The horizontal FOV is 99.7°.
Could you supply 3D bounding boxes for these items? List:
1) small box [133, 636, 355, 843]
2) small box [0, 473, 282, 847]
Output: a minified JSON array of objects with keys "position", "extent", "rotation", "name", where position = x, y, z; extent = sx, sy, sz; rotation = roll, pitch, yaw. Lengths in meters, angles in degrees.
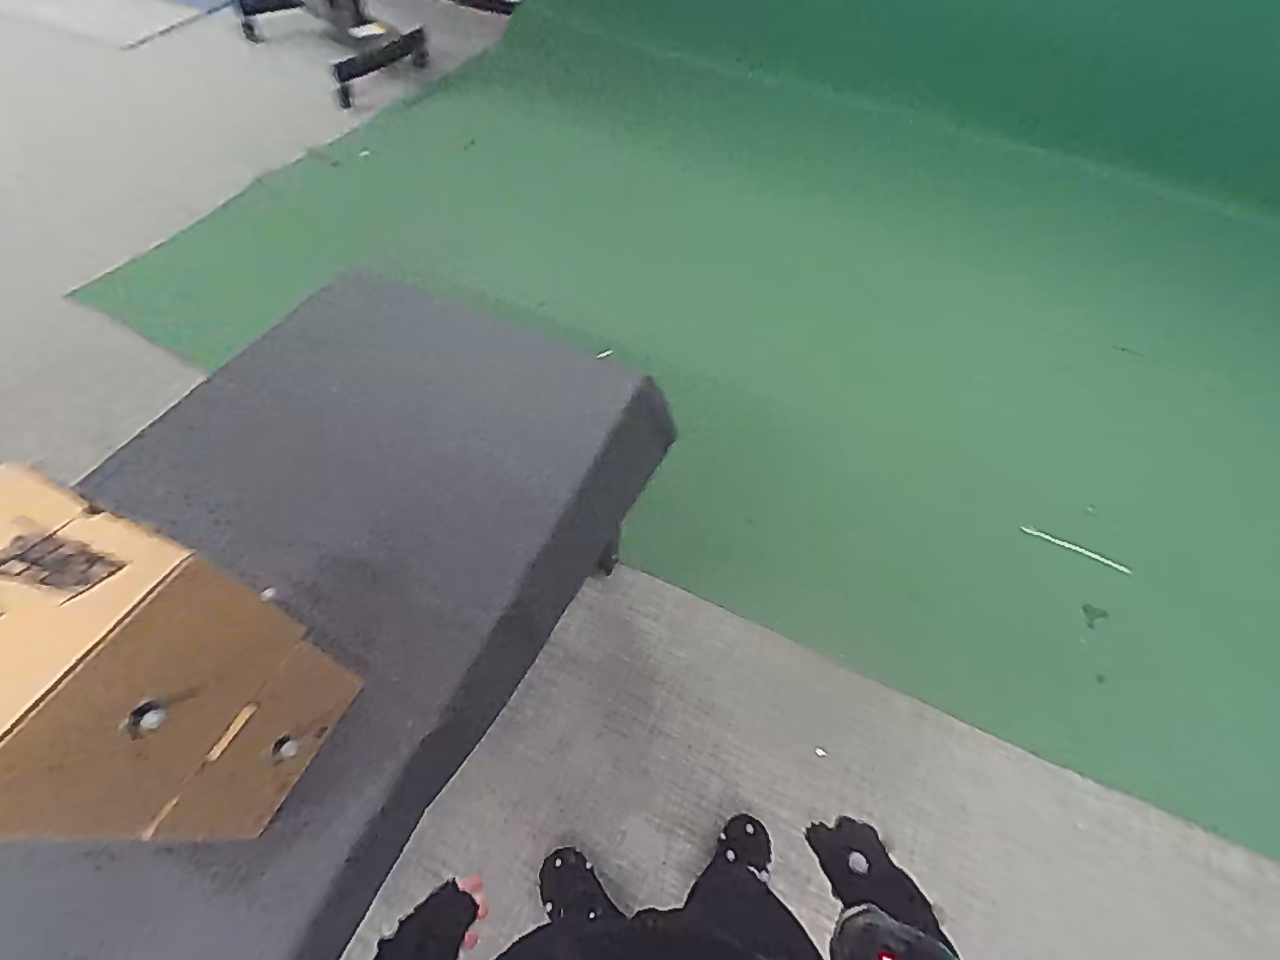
[{"position":[-0.423,0.223,0.530],"extent":[0.179,0.176,0.168],"rotation":[21,59,8],"name":"small box"},{"position":[-0.406,0.132,0.393],"extent":[0.168,0.176,0.179],"rotation":[22,60,10],"name":"small box"}]
